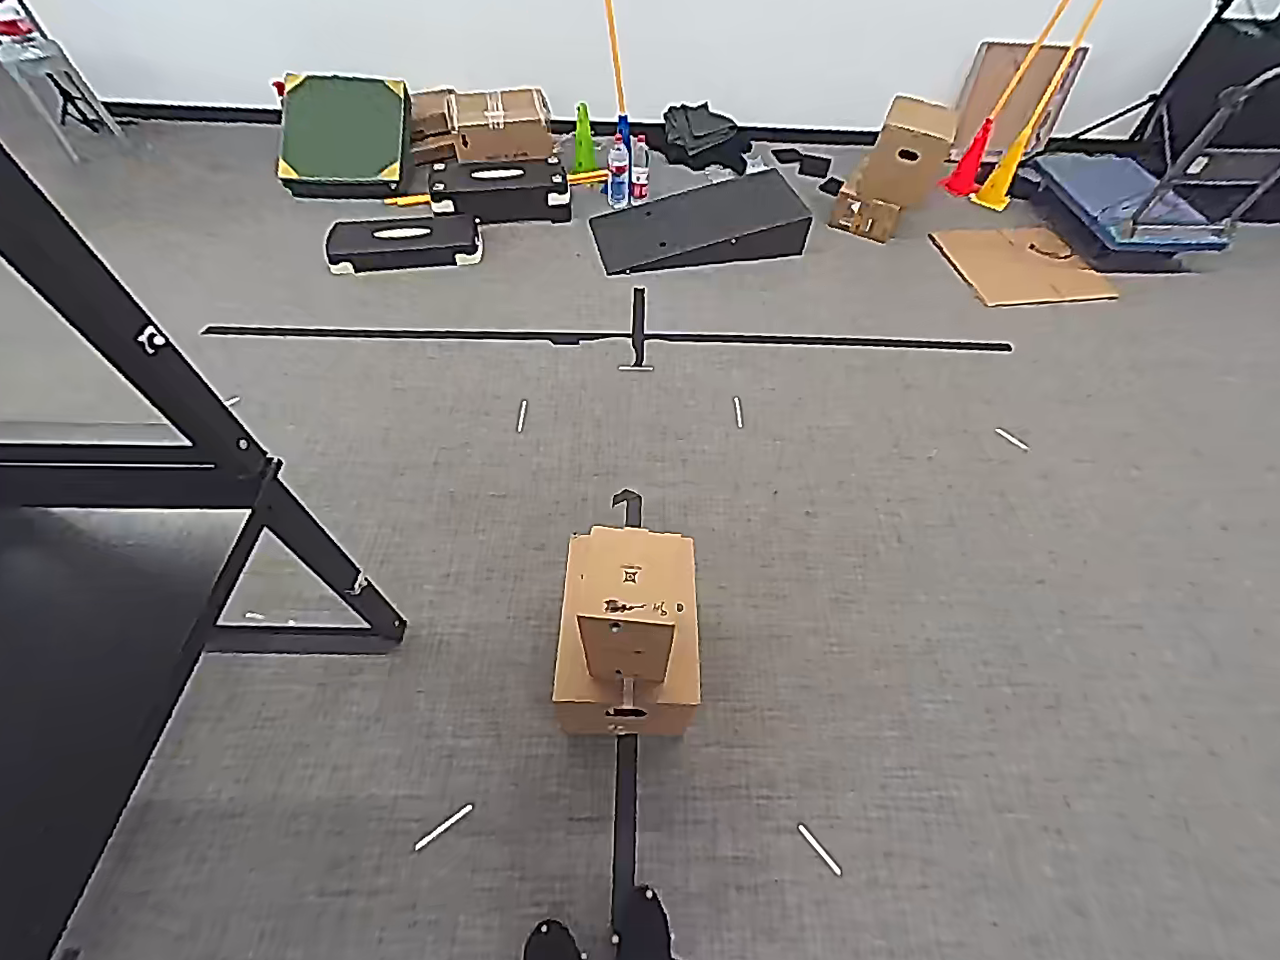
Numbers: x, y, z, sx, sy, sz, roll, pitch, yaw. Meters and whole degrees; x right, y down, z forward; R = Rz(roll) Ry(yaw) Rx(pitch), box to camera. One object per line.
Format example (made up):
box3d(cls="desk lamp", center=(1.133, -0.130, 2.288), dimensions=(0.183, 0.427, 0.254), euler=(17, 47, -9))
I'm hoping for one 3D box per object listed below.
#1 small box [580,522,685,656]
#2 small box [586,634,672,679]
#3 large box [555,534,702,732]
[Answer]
box3d(cls="small box", center=(-0.011, 0.201, 0.990), dimensions=(0.168, 0.176, 0.179), euler=(5, 53, 3))
box3d(cls="small box", center=(-0.017, 0.295, 1.124), dimensions=(0.168, 0.176, 0.179), euler=(5, 54, 2))
box3d(cls="large box", center=(-0.029, 0.389, 1.358), dimensions=(0.320, 0.320, 0.408), euler=(3, 53, -2))
